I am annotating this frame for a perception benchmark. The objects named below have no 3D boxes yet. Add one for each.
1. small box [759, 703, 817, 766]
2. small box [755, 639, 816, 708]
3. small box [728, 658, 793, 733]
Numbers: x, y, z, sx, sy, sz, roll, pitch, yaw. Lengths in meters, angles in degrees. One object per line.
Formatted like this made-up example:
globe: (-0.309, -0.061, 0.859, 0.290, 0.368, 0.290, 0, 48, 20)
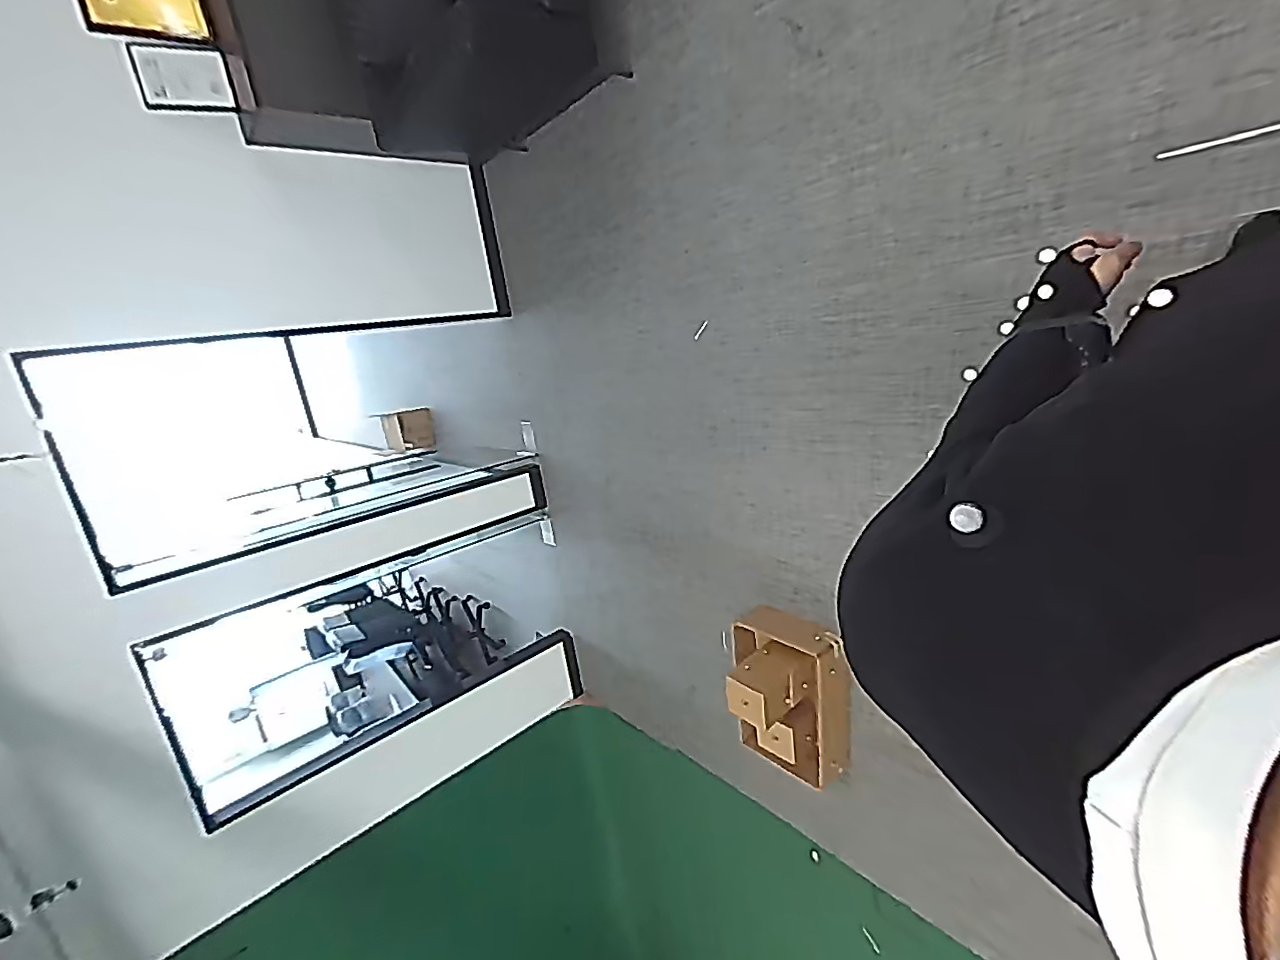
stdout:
small box: (0.600, 0.998, 2.177, 0.179, 0.176, 0.168, 9, 111, 47)
small box: (0.573, 0.746, 2.110, 0.179, 0.176, 0.168, 9, 112, 48)
small box: (0.450, 0.791, 2.012, 0.179, 0.176, 0.168, 12, 116, 46)
